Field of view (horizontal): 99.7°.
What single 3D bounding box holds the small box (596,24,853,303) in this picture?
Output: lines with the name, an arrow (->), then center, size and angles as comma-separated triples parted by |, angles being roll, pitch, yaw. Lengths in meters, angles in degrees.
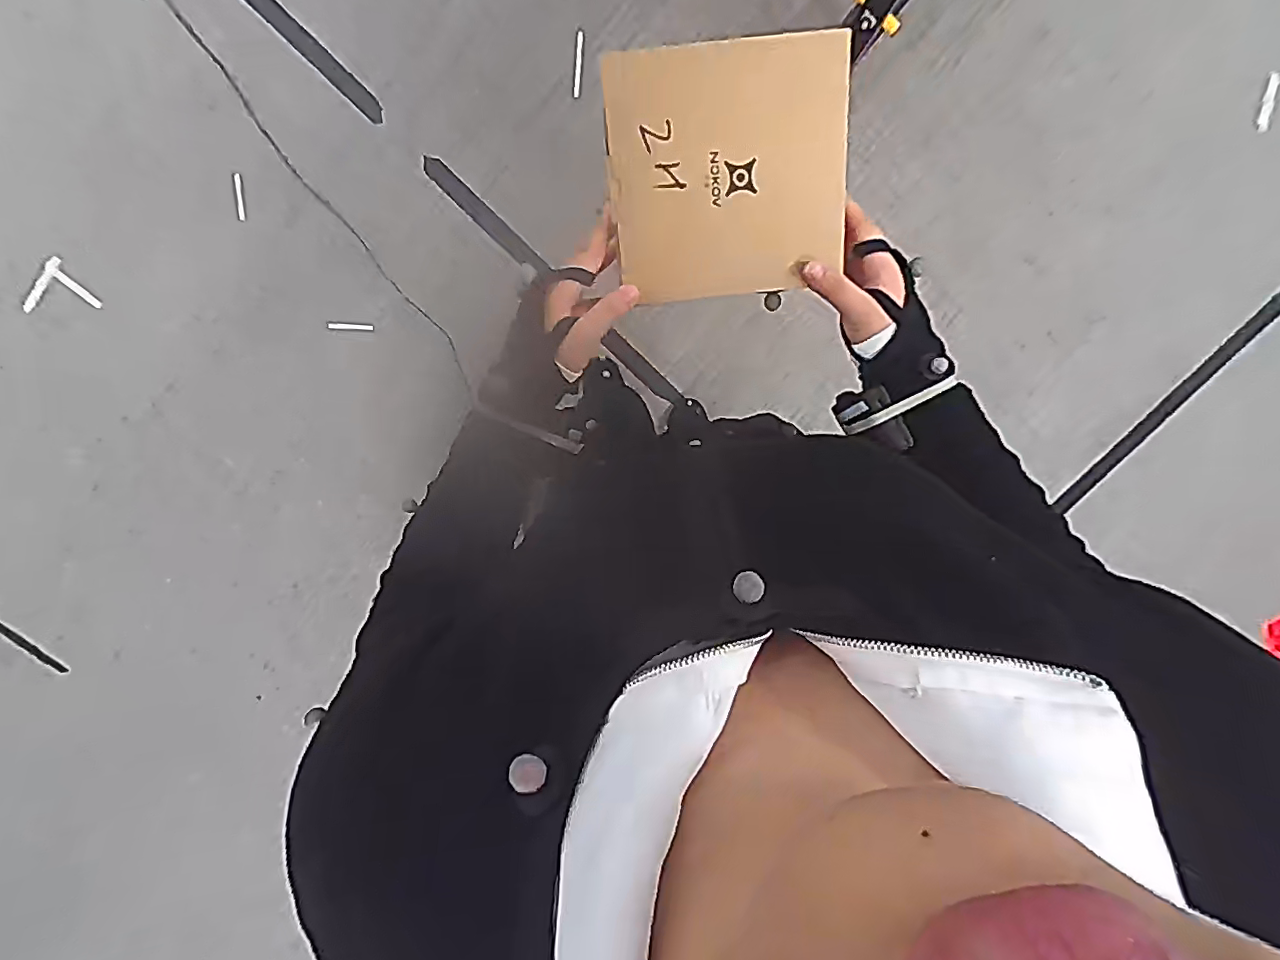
small box -> 0.058, -0.248, 0.461 | 0.179, 0.176, 0.168 | -6, 111, 0
